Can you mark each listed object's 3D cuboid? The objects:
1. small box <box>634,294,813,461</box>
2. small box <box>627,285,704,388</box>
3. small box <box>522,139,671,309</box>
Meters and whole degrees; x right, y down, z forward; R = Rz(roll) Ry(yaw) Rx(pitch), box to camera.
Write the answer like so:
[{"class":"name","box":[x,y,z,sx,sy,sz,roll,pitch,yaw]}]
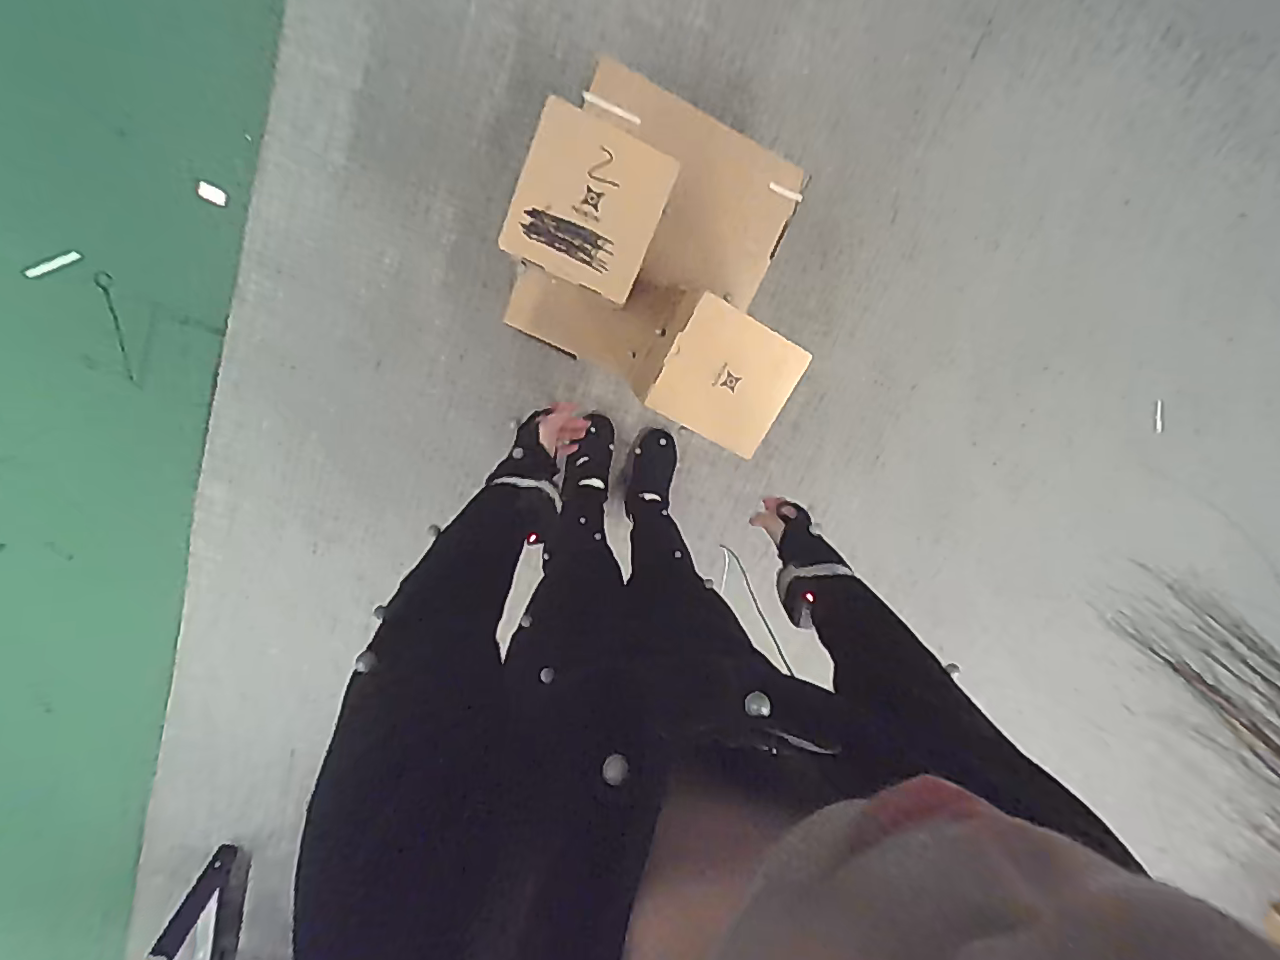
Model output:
[{"class":"small box","box":[0.108,-0.155,0.786,0.179,0.176,0.168,26,103,-14]},{"class":"small box","box":[0.086,-0.214,0.936,0.168,0.176,0.179,25,102,-14]},{"class":"small box","box":[-0.072,-0.392,0.865,0.168,0.176,0.179,26,102,-11]}]
